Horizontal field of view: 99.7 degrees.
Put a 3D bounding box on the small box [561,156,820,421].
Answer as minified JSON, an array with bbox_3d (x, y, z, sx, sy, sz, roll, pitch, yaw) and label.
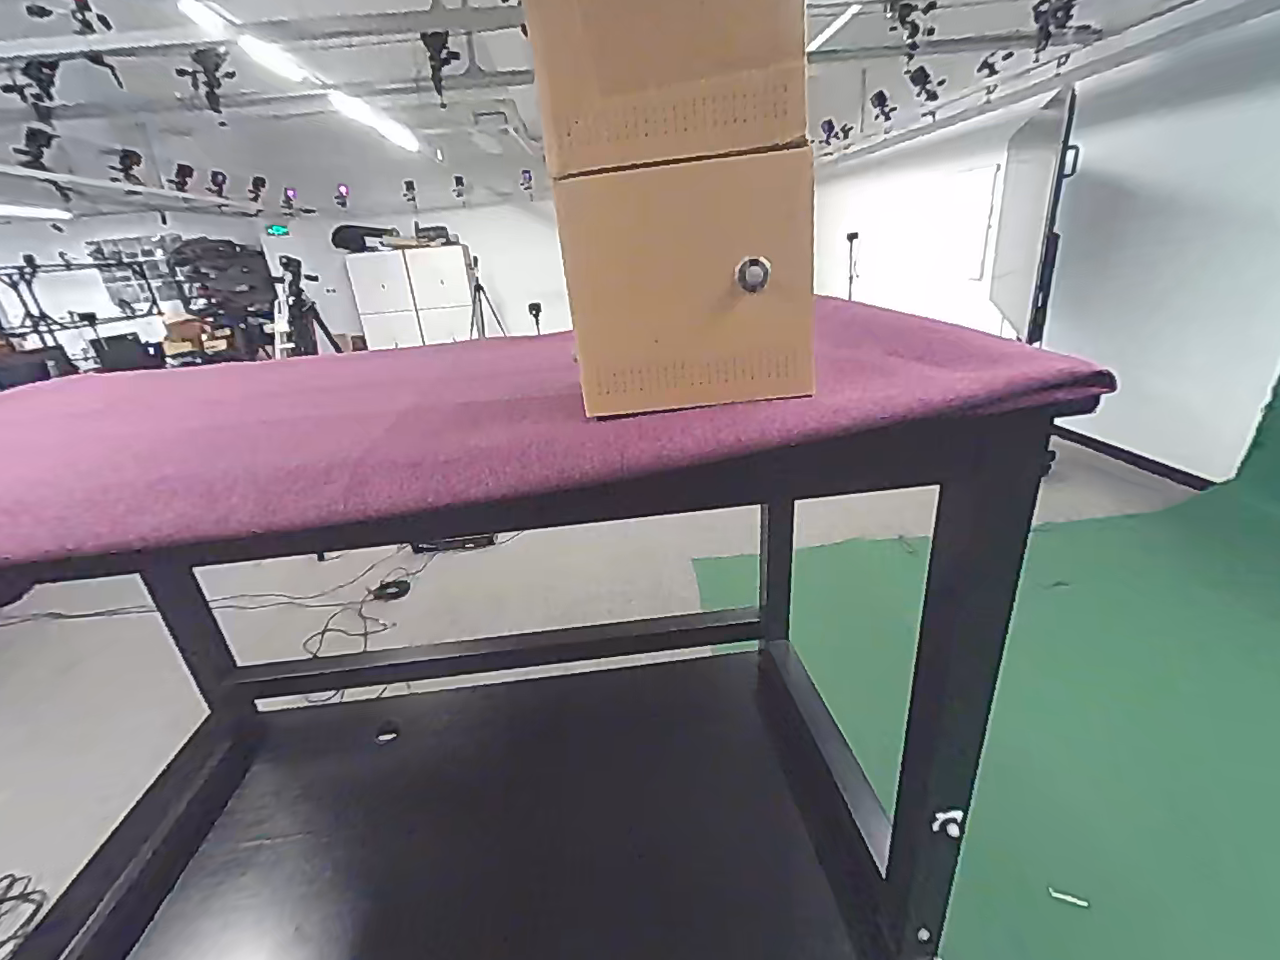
[{"bbox_3d":[0.042,-0.156,0.461,0.179,0.176,0.168,-6,20,3],"label":"small box"}]

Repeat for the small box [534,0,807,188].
[{"bbox_3d":[0.023,-0.309,0.410,0.179,0.176,0.168,-4,20,5],"label":"small box"}]
